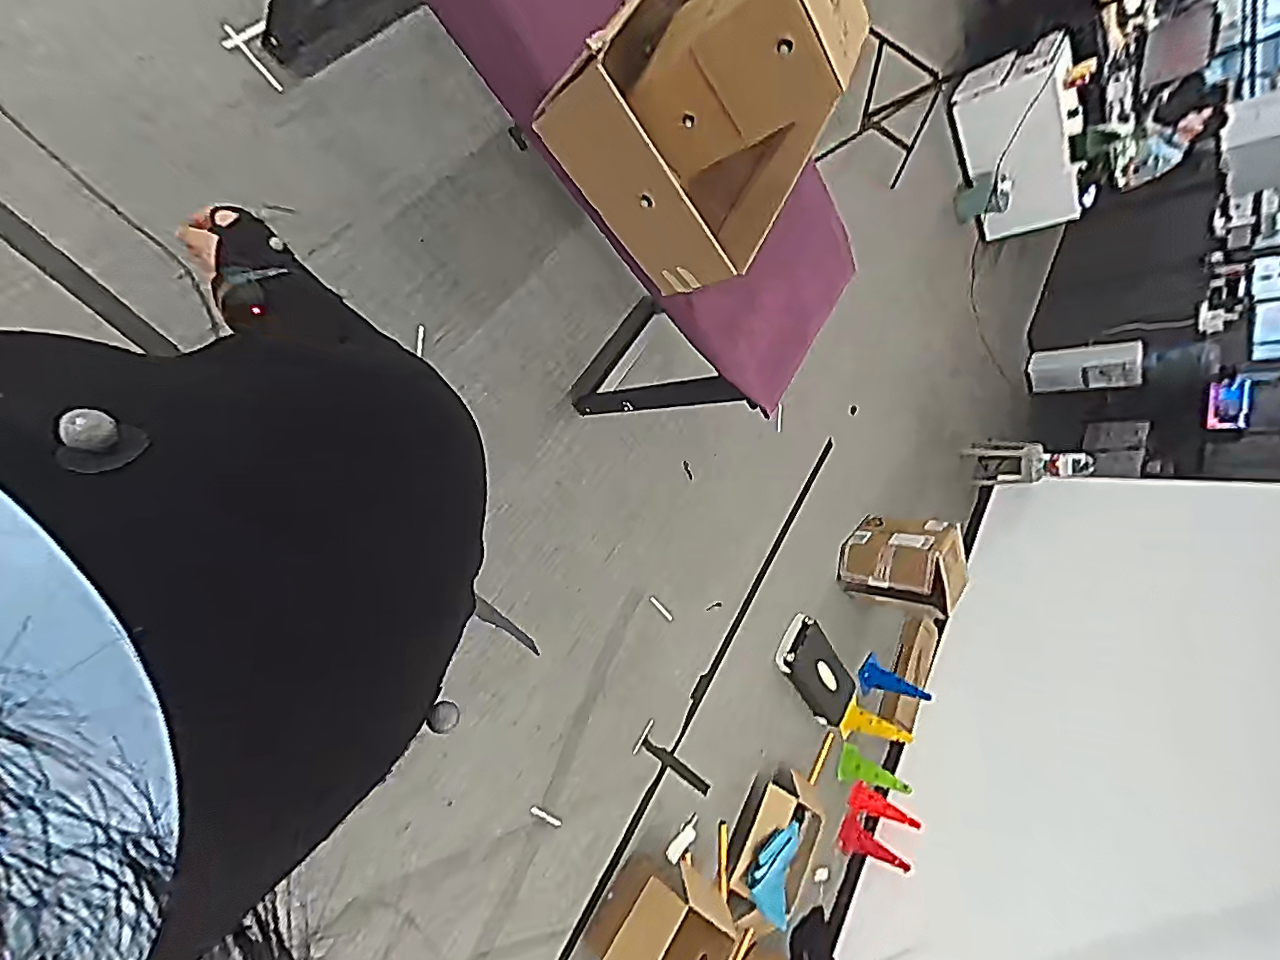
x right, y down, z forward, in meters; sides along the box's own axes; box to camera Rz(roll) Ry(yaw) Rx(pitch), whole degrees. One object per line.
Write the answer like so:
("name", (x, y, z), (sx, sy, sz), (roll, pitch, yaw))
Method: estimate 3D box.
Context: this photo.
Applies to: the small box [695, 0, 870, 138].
("small box", (0.208, -0.657, 0.796), (0.179, 0.176, 0.168), (38, 67, -37))
